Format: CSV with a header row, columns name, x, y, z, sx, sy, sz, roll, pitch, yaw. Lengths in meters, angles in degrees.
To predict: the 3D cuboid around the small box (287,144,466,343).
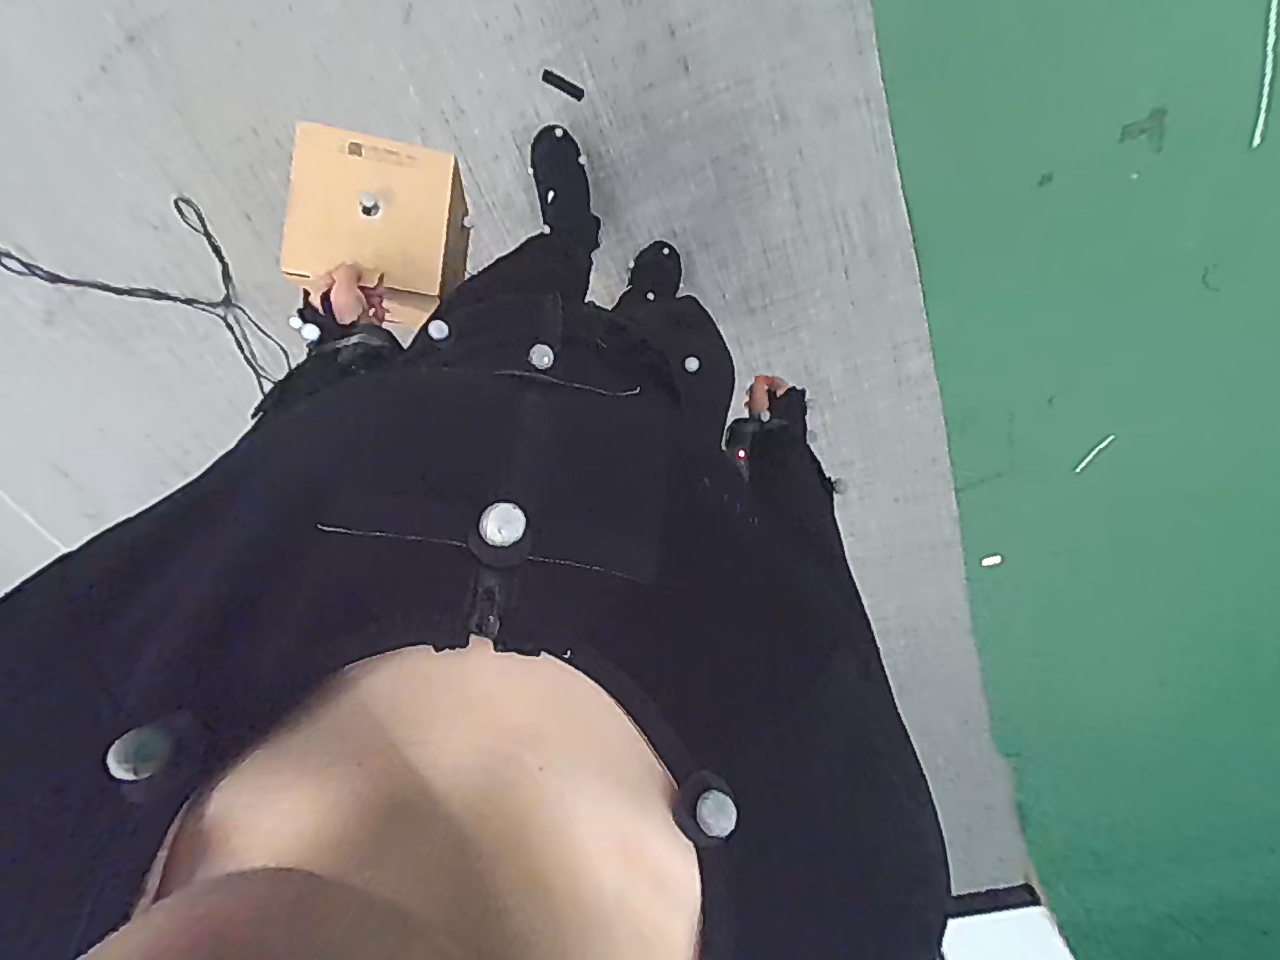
name,x,y,z,sx,sy,sz,roll,pitch,yaw
small box,-0.319,-0.287,0.687,0.168,0.179,0.176,5,88,-12
